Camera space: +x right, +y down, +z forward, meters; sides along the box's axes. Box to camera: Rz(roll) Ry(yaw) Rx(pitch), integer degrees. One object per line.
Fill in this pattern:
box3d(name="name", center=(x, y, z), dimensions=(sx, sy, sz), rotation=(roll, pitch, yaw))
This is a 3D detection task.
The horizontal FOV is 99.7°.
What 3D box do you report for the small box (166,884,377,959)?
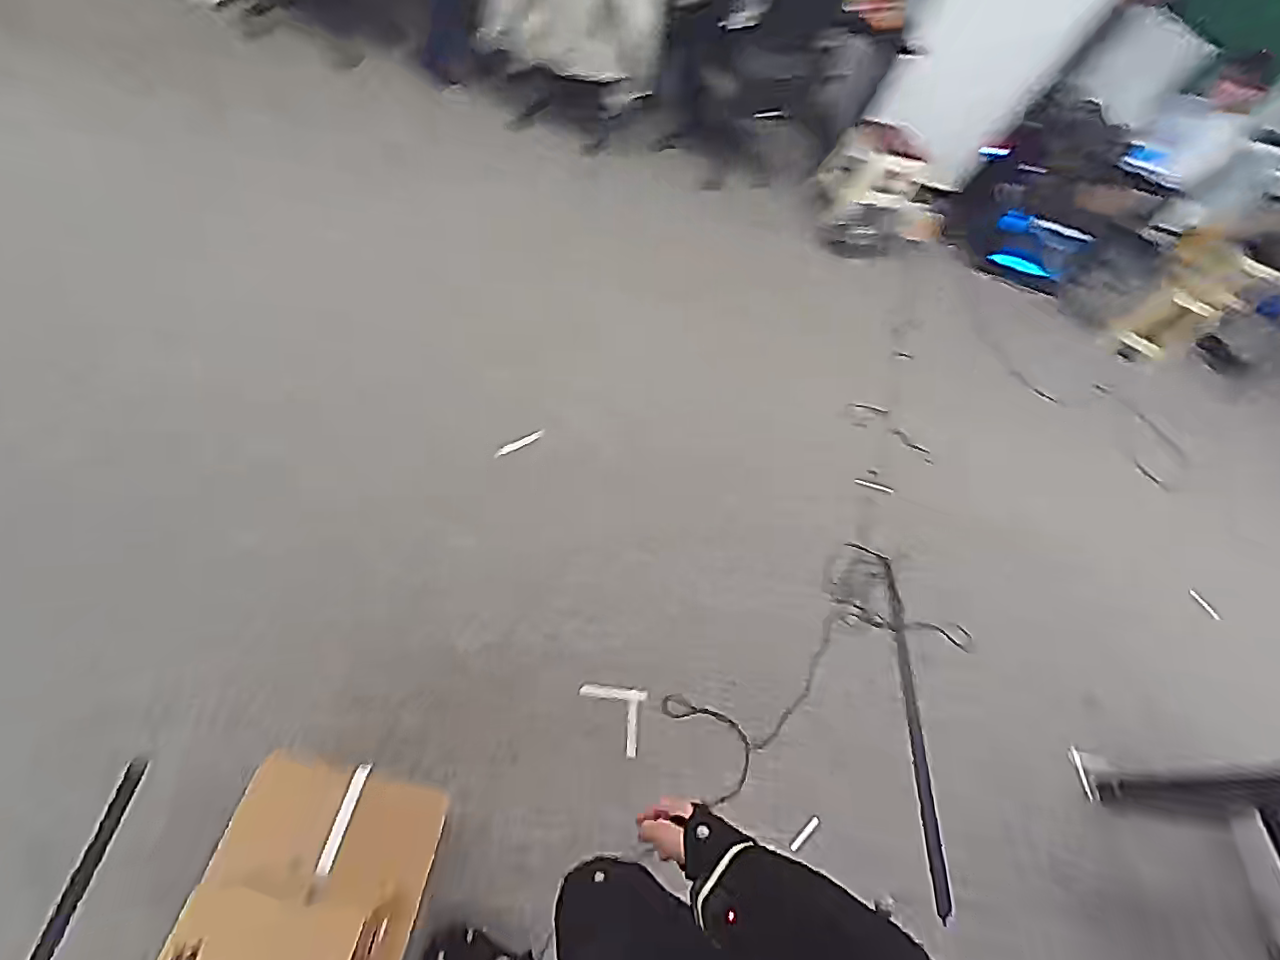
box3d(name="small box", center=(-0.400, 0.547, 0.576), dimensions=(0.179, 0.176, 0.168), rotation=(18, 54, -10))
